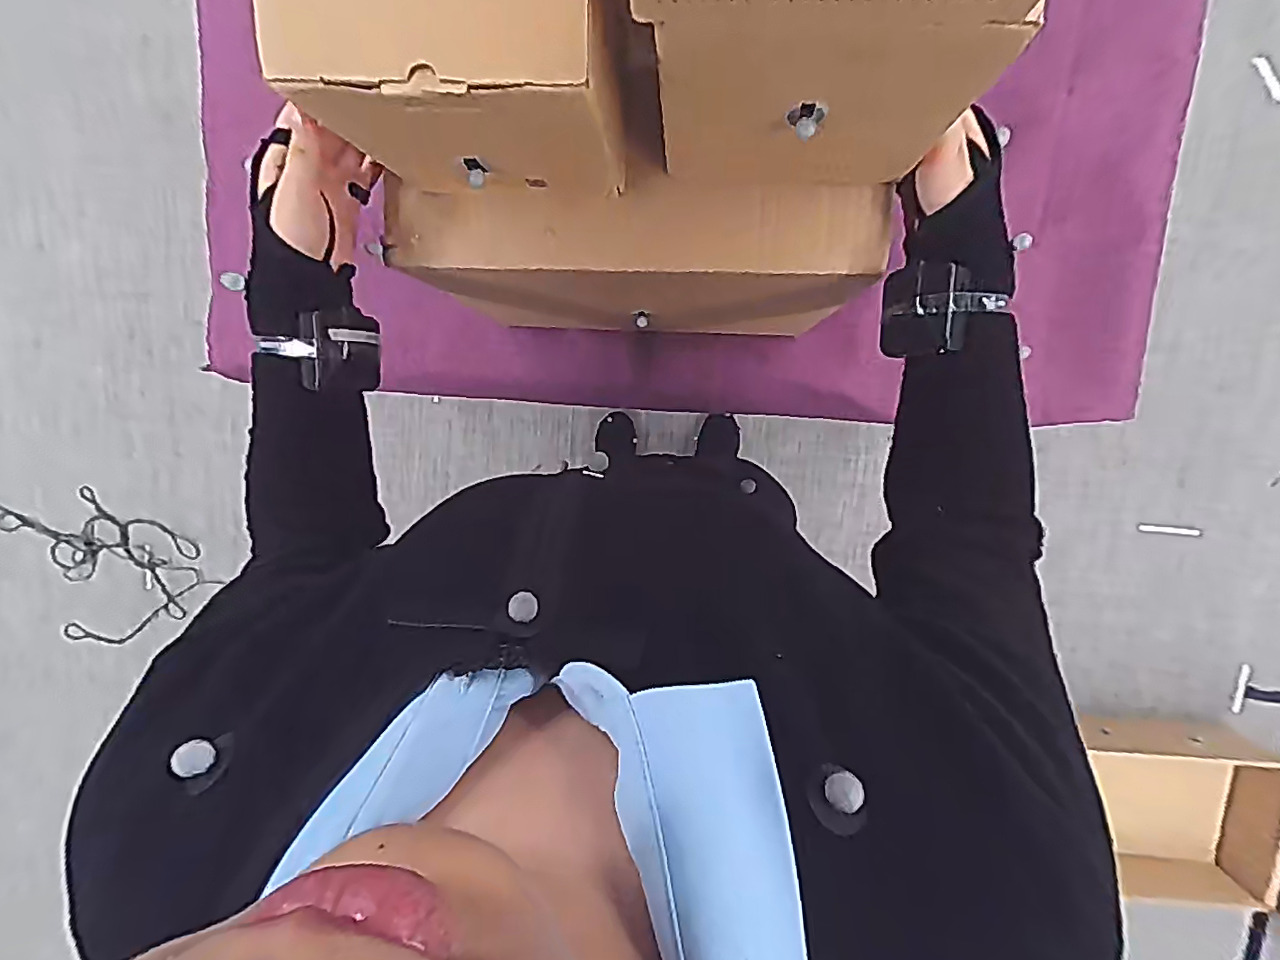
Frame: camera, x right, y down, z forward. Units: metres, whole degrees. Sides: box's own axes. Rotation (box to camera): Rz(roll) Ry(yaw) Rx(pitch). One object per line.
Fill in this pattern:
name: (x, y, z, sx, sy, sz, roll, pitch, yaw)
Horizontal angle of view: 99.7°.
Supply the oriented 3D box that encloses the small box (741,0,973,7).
small box: (0.080, -0.279, 0.149, 0.179, 0.176, 0.168, 4, 97, 4)
